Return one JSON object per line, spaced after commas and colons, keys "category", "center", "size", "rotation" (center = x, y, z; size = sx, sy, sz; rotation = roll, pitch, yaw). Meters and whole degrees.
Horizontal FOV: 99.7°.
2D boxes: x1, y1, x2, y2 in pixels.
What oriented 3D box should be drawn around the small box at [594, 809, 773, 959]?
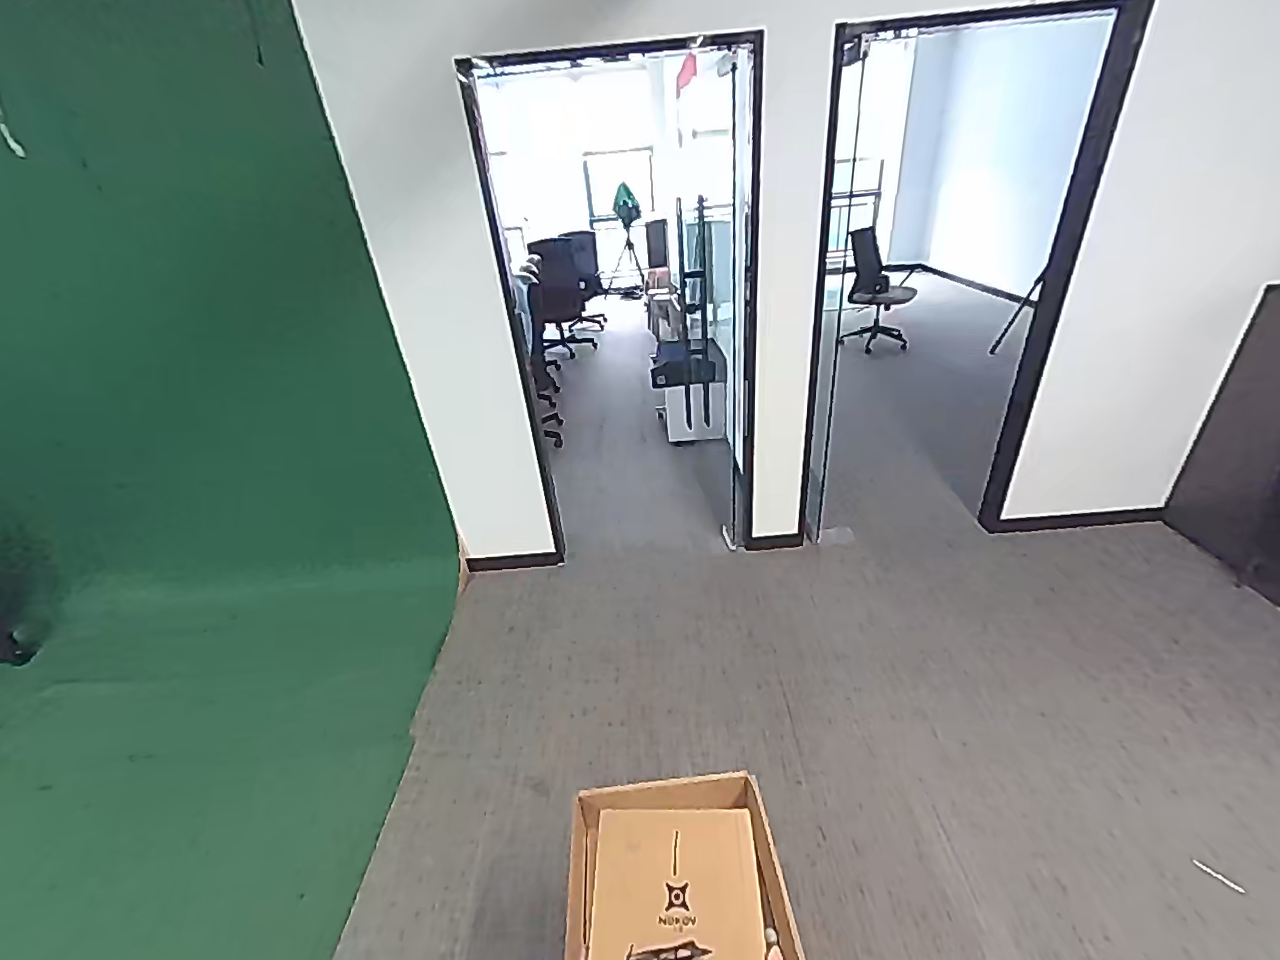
{"category": "small box", "center": [0.047, 0.473, 0.565], "size": [0.168, 0.176, 0.179], "rotation": [-3, 37, 3]}
